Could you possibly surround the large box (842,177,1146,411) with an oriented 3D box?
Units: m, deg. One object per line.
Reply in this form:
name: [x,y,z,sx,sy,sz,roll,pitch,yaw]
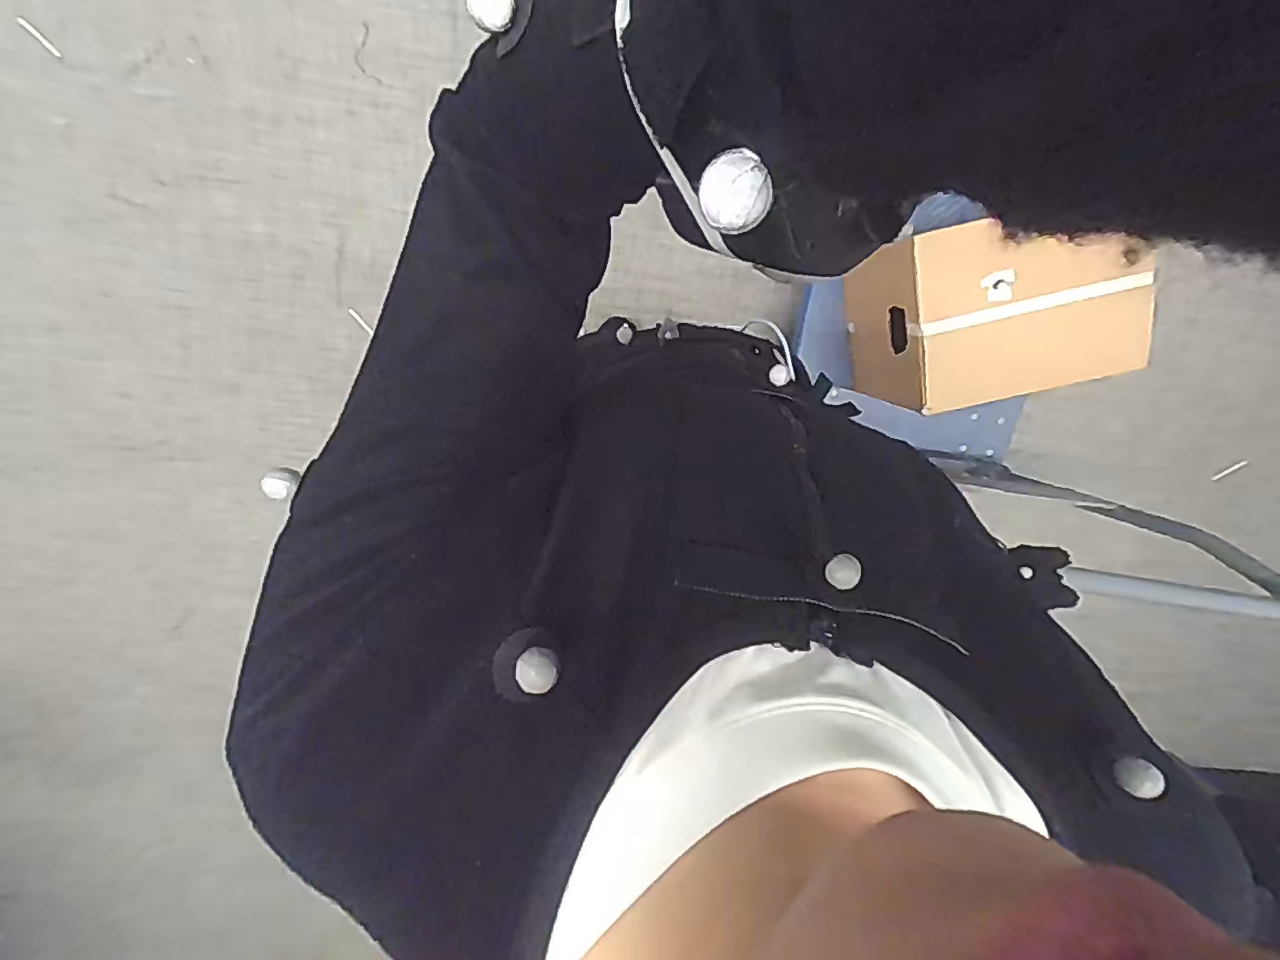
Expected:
large box: [0.670,-0.359,1.082,0.408,0.320,0.320,-13,106,3]
